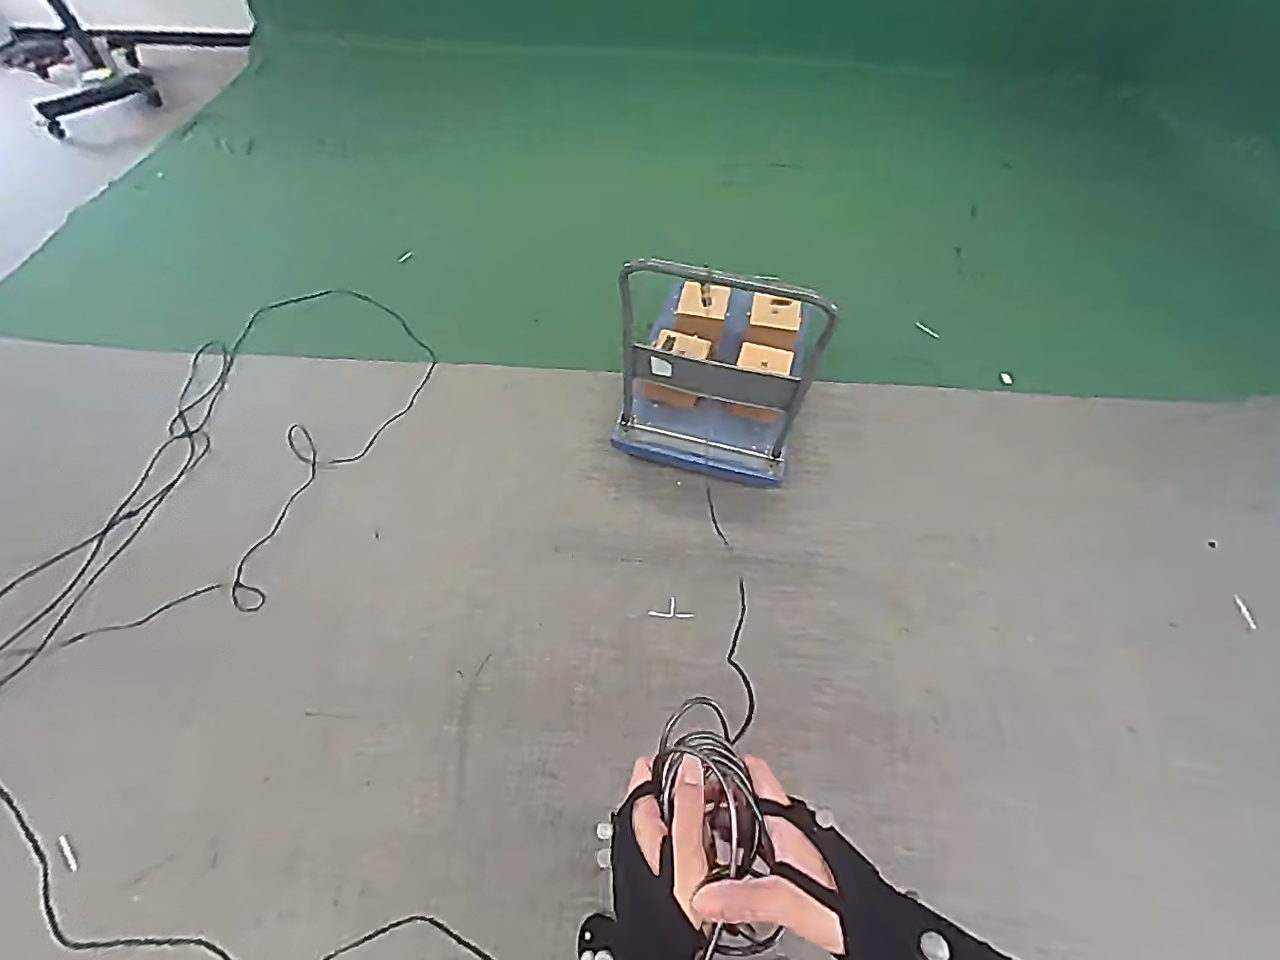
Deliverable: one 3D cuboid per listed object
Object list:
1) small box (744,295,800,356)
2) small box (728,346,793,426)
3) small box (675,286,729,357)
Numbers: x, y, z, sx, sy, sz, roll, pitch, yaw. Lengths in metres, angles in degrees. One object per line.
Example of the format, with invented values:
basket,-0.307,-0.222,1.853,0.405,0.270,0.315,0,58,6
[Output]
small box,0.468,-0.529,1.935,0.168,0.176,0.179,10,58,7
small box,0.394,-0.311,1.793,0.168,0.176,0.179,14,58,9
small box,0.222,-0.573,1.964,0.168,0.176,0.179,11,57,6
